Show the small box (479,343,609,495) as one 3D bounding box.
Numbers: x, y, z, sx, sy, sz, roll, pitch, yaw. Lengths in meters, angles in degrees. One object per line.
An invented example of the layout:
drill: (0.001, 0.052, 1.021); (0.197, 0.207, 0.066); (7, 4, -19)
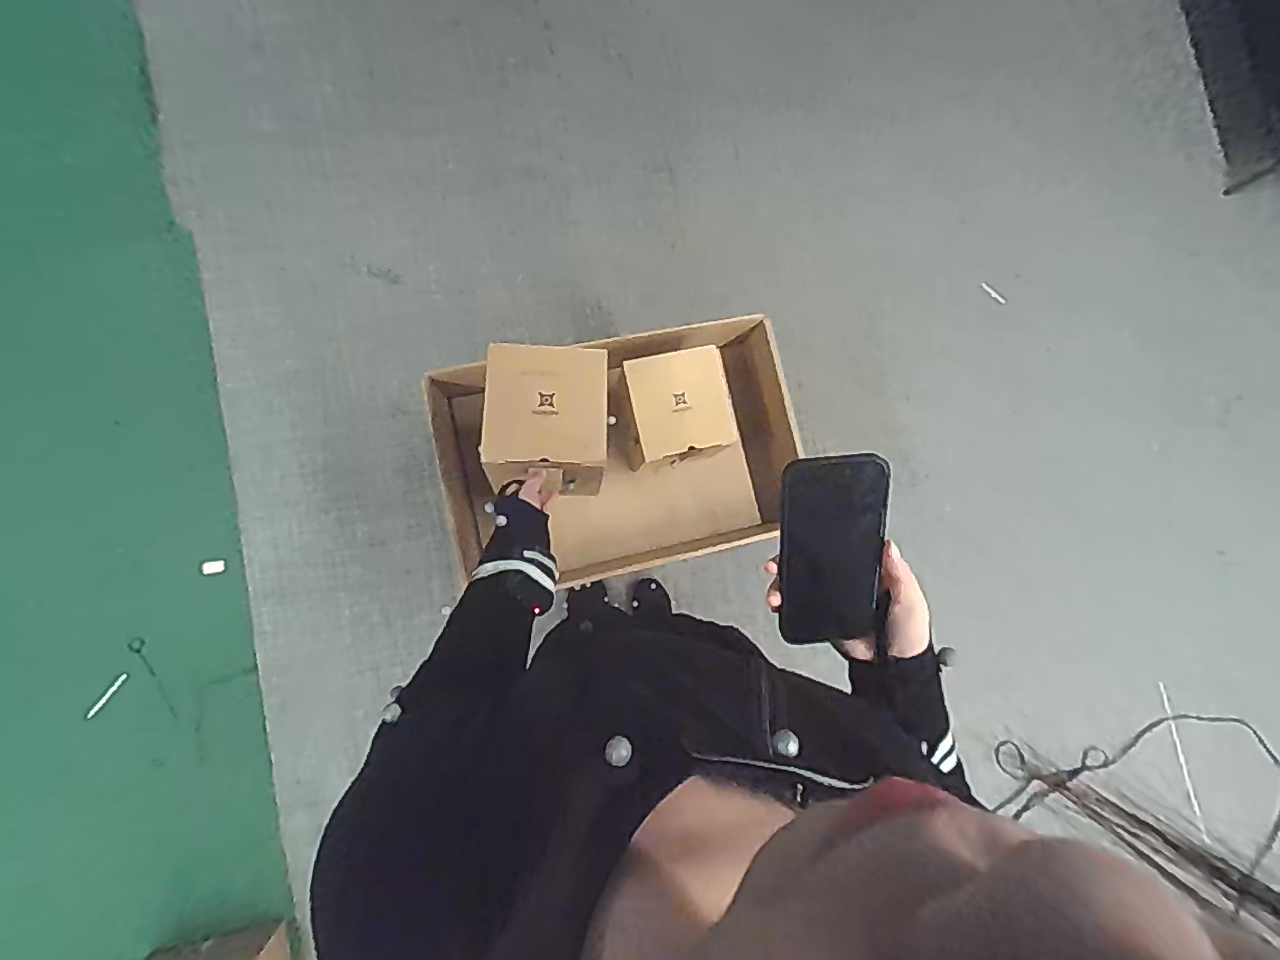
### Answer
small box: (-0.134, -0.079, 0.800); (0.168, 0.176, 0.179); (2, 74, -7)
